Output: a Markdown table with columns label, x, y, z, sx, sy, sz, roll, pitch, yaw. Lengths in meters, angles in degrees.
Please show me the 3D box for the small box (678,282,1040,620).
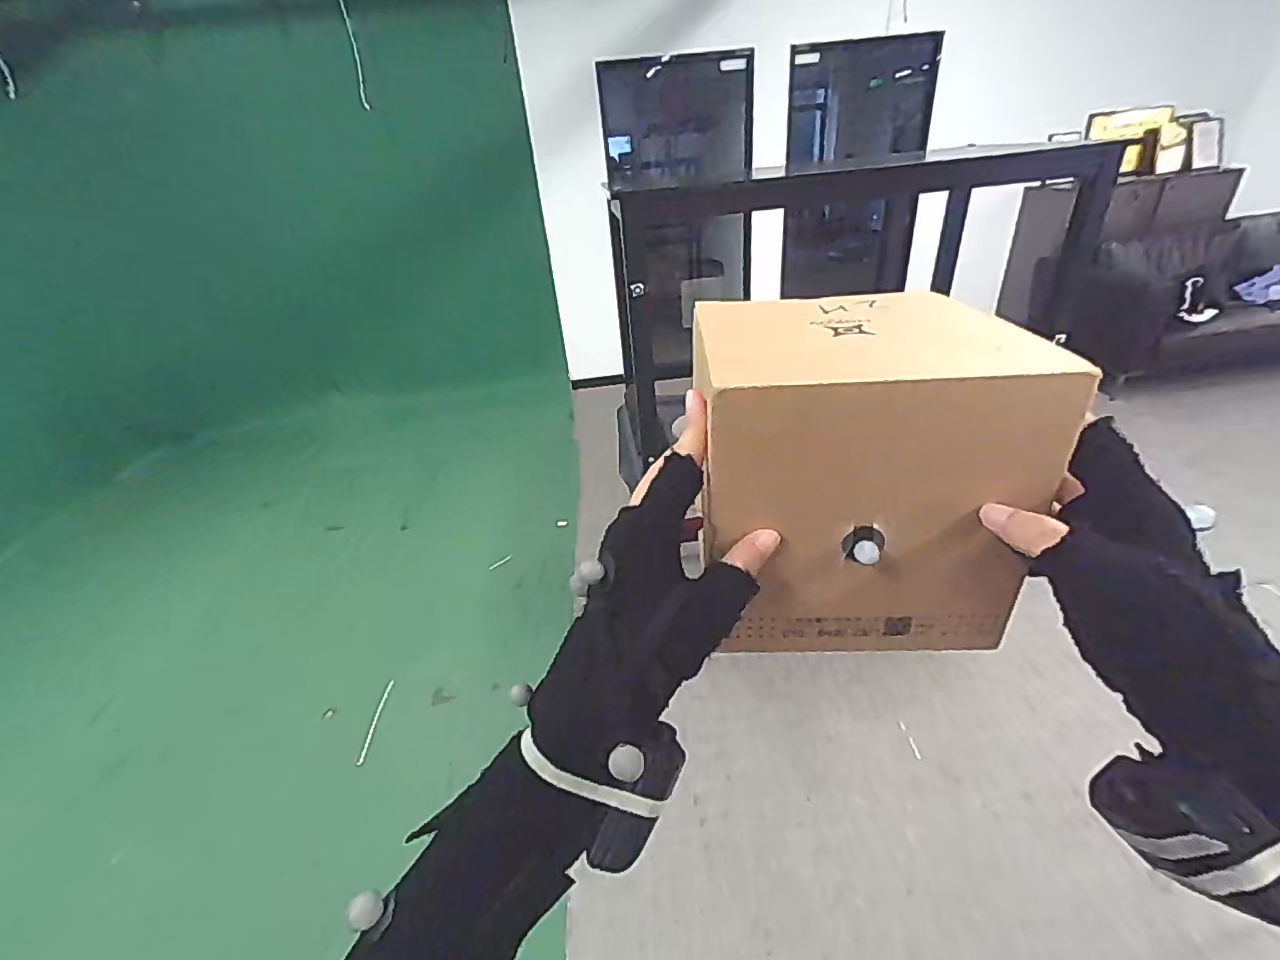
| label | x | y | z | sx | sy | sz | roll | pitch | yaw |
| --- | --- | --- | --- | --- | --- | --- | --- | --- | --- |
| small box | 0.110 | -0.024 | 0.357 | 0.168 | 0.176 | 0.179 | -1 | 28 | 4 |
